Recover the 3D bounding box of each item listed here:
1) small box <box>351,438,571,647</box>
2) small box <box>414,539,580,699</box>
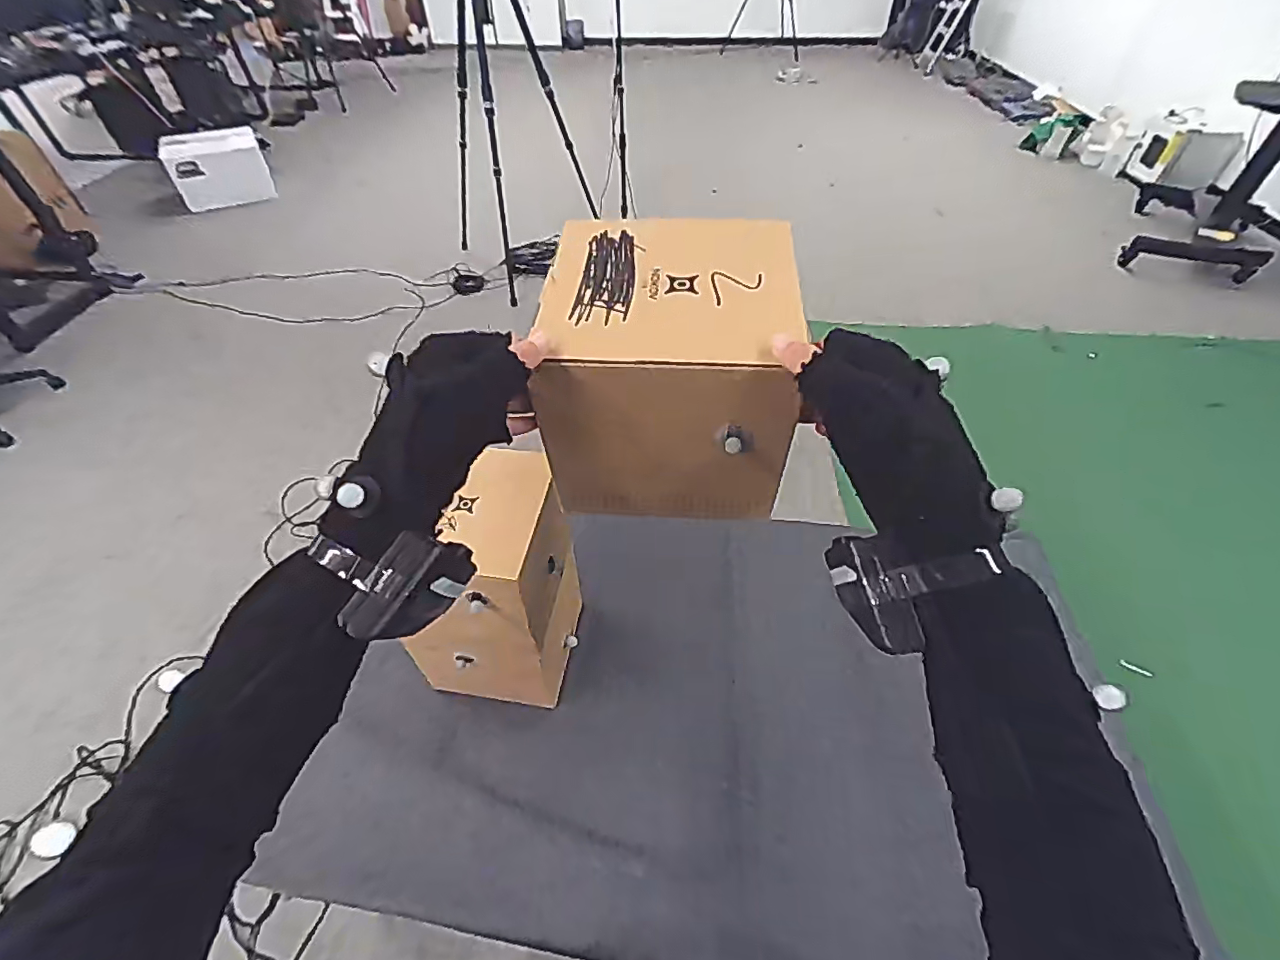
[{"bbox_3d":[-0.182,0.075,0.622,0.179,0.176,0.168,6,47,5],"label":"small box"},{"bbox_3d":[-0.189,0.183,0.748,0.179,0.176,0.168,8,48,5],"label":"small box"}]
